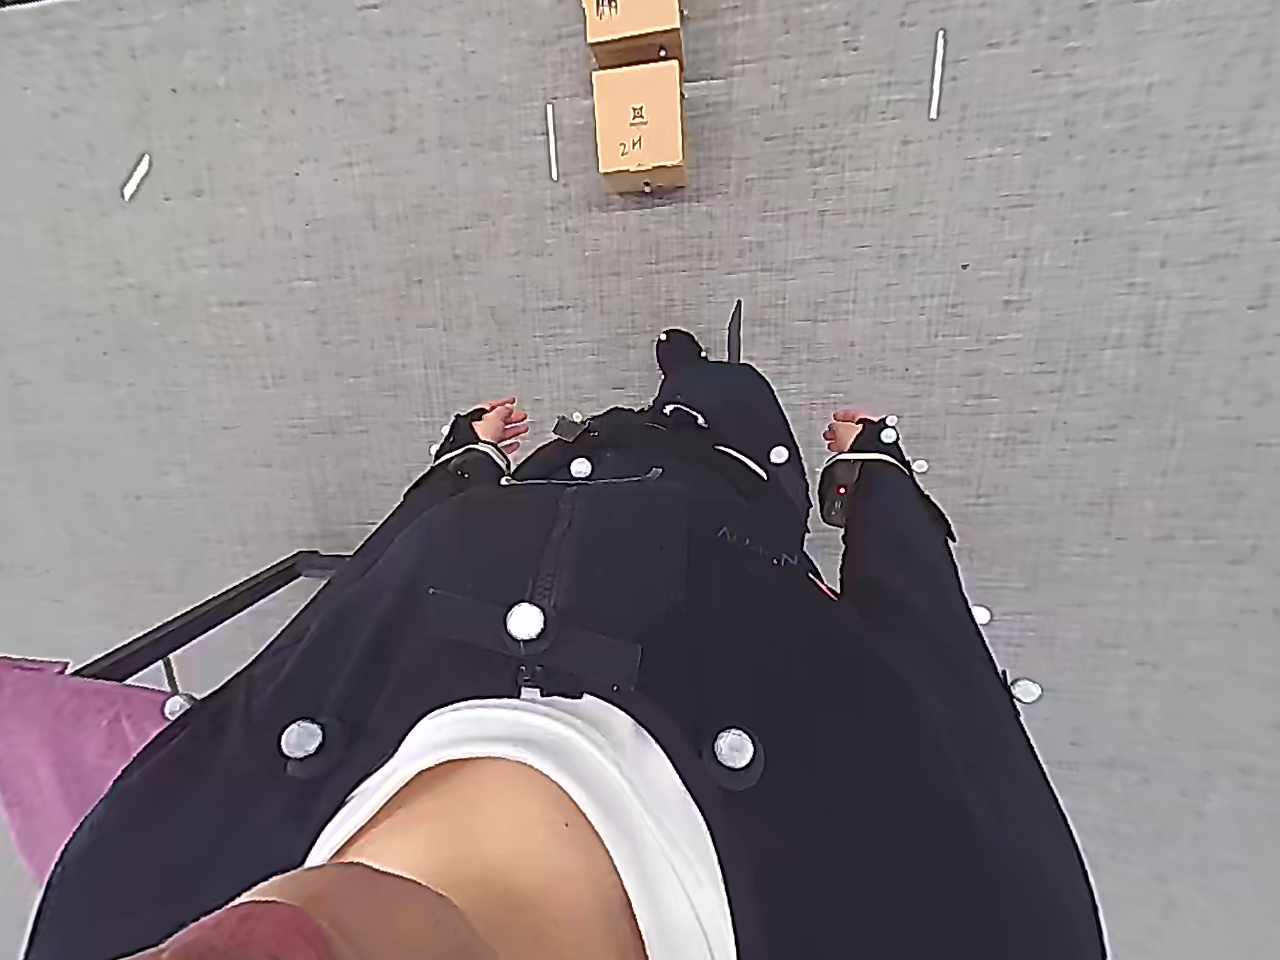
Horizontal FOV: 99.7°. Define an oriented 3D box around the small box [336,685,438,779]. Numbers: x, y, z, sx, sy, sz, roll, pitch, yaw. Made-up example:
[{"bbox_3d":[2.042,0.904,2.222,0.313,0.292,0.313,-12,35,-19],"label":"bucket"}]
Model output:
[{"bbox_3d":[-0.677,0.674,1.463,0.179,0.176,0.168,-2,106,6],"label":"small box"}]
